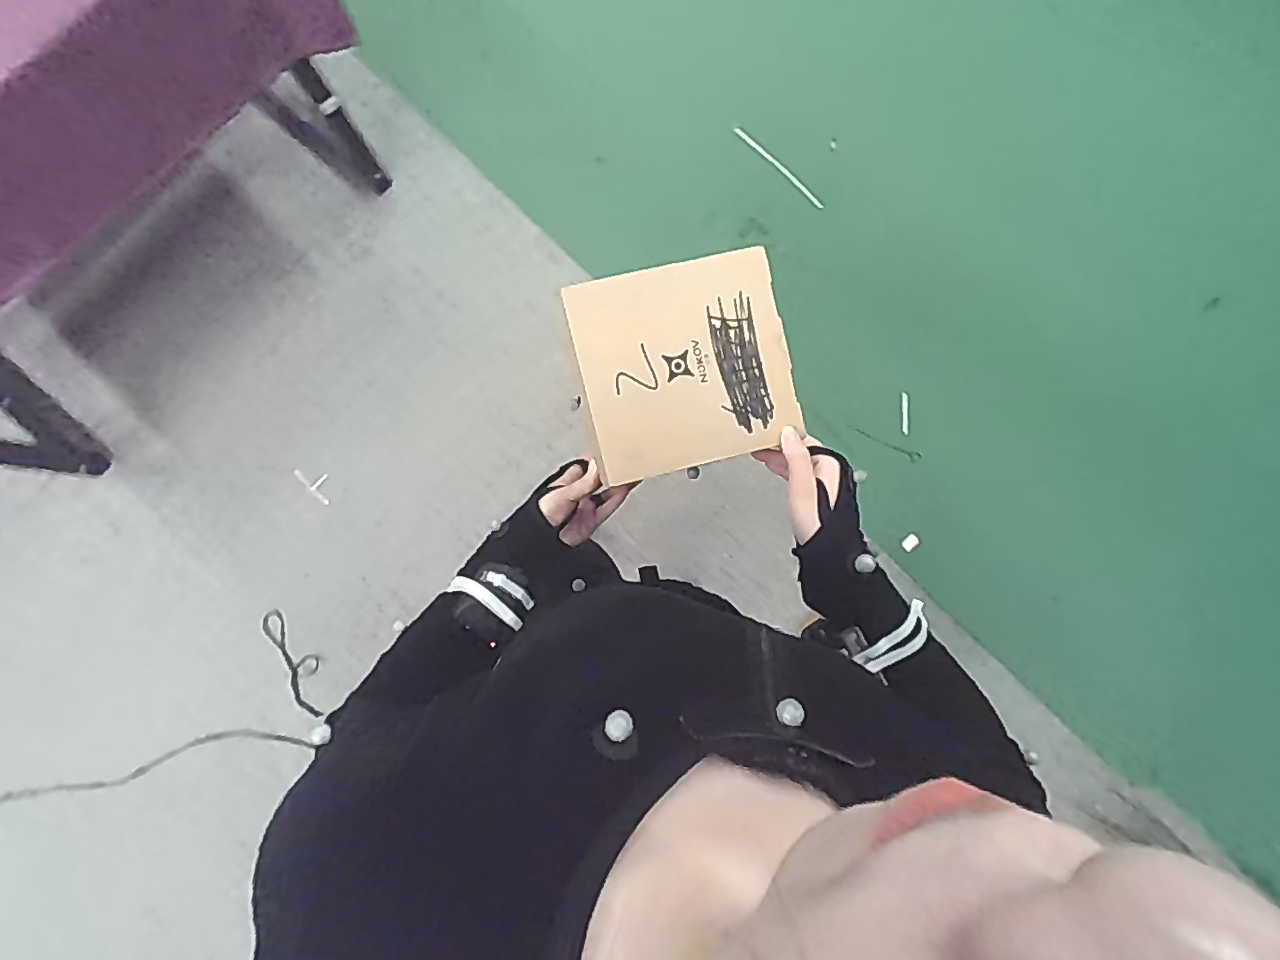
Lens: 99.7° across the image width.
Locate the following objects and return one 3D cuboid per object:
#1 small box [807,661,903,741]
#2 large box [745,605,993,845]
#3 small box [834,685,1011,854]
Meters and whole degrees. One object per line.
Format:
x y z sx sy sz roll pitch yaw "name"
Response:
0.476 0.495 1.107 0.168 0.176 0.179 -45 88 -6 "small box"
0.537 0.572 1.347 0.408 0.320 0.320 43 84 1 "large box"
0.476 0.483 0.942 0.168 0.176 0.179 -45 88 -5 "small box"
